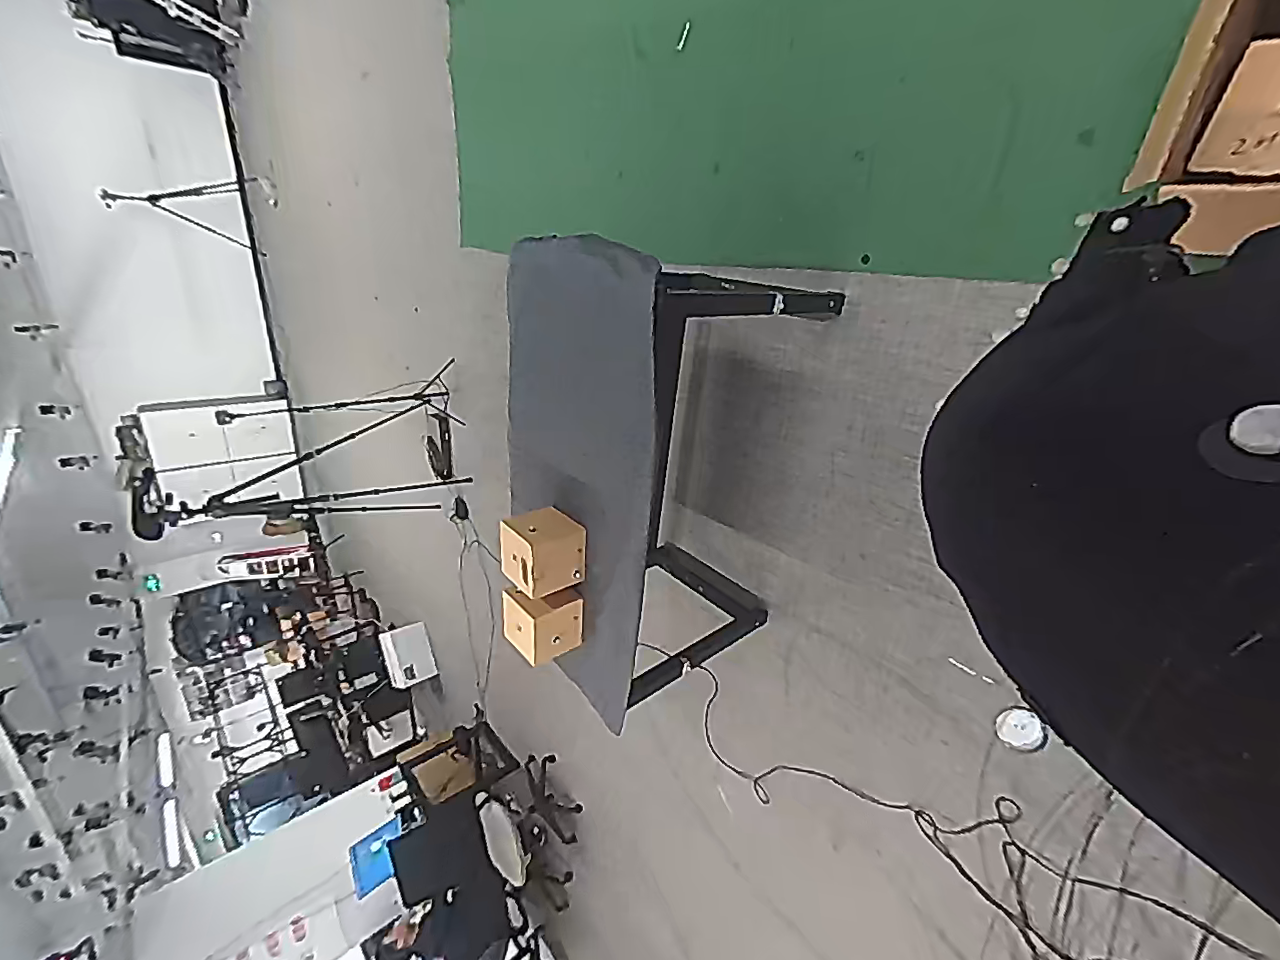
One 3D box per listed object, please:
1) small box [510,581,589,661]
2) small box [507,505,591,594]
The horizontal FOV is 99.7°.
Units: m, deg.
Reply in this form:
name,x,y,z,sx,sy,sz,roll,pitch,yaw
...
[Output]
name,x,y,z,sx,sy,sz,roll,pitch,yaw
small box,-0.261,0.388,1.584,0.179,0.176,0.168,27,122,44
small box,-0.250,0.183,1.496,0.179,0.176,0.168,27,122,44
